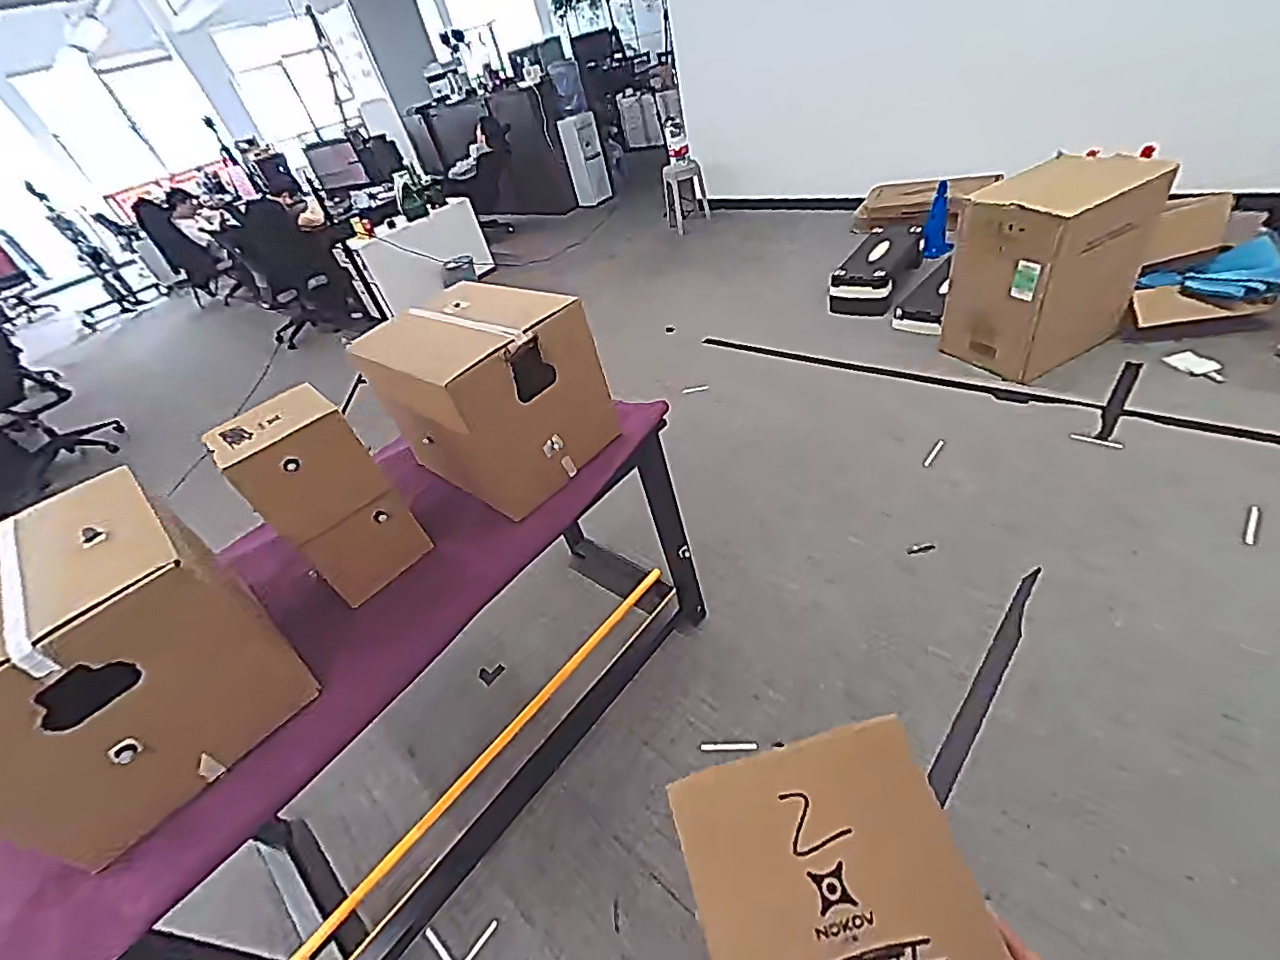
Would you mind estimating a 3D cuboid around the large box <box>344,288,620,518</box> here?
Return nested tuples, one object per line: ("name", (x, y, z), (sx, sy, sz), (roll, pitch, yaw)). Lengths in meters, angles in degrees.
("large box", (-0.314, -0.176, 1.121), (0.408, 0.320, 0.320), (21, 52, 38))
